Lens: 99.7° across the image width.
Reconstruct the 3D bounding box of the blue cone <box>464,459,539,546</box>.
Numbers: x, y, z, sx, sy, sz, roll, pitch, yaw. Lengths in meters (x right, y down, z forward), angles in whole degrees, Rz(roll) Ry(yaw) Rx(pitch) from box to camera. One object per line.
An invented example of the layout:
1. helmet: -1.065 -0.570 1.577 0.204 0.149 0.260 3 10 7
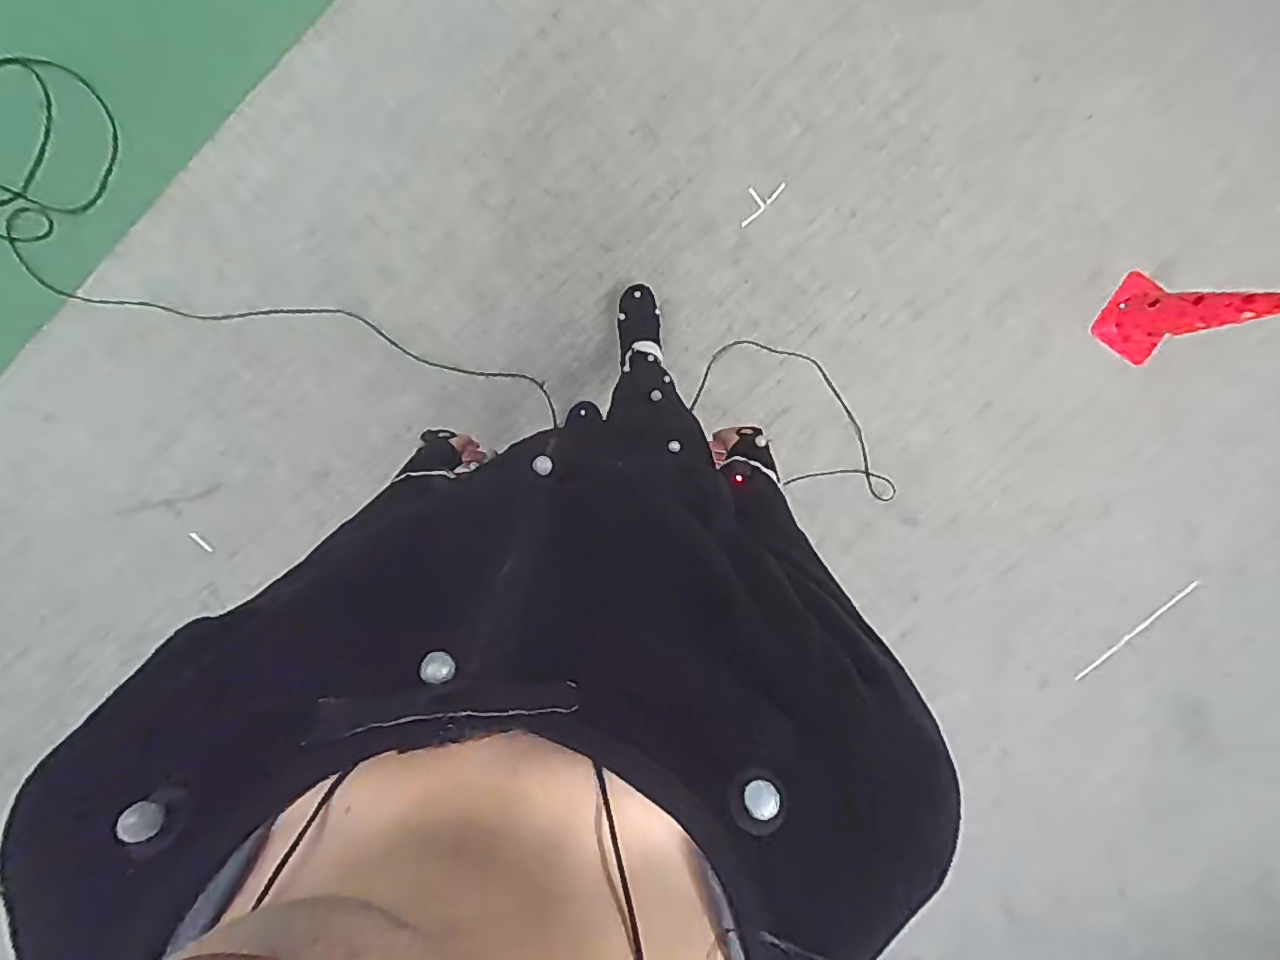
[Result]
1. blue cone: -0.357 0.077 1.310 0.192 0.380 0.193 1 104 -5
